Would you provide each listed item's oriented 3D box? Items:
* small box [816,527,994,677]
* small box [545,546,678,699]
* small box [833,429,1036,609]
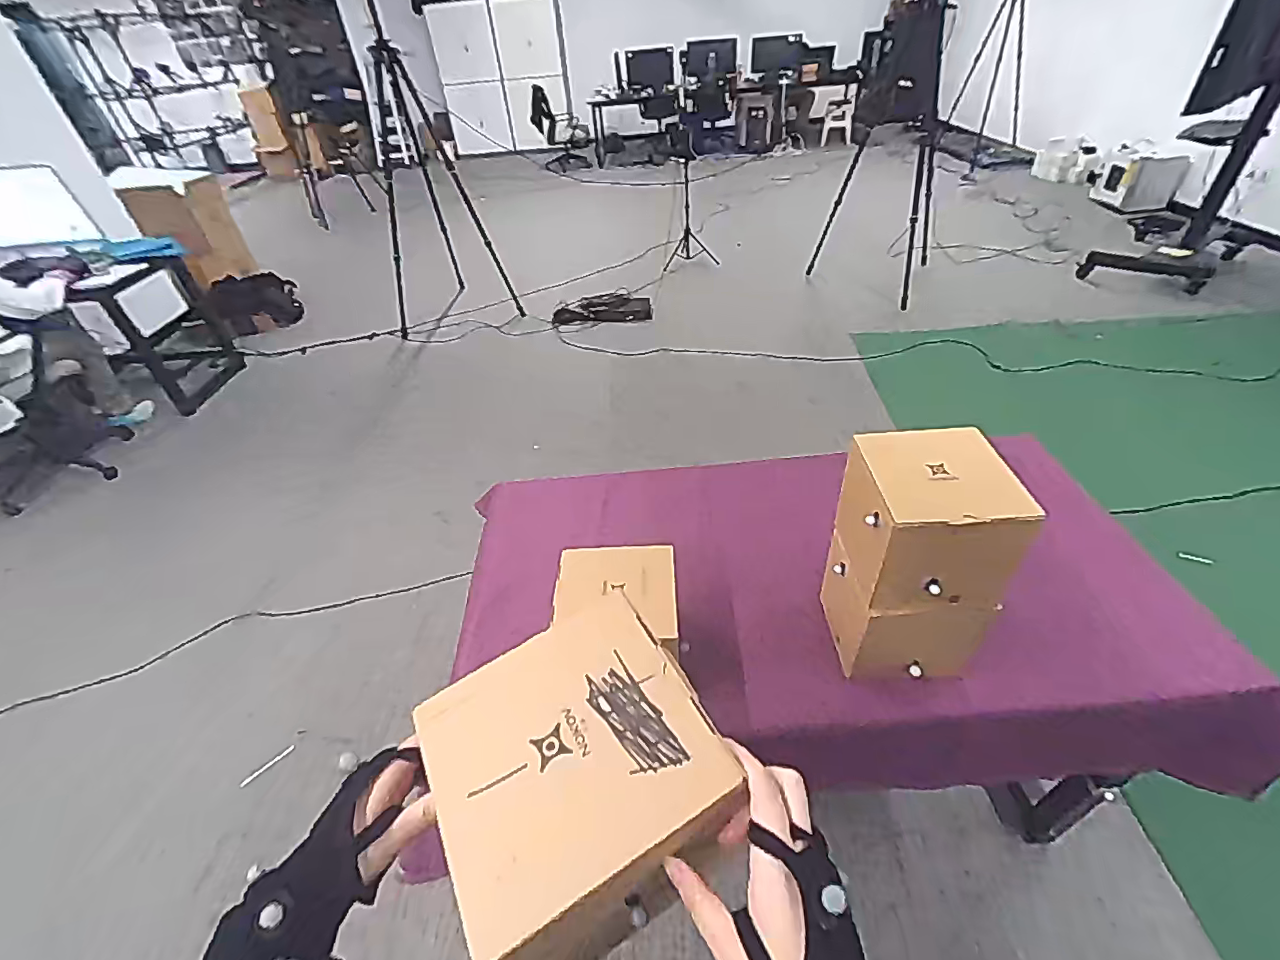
[{"bbox_3d":[0.385,0.183,0.824,0.179,0.176,0.168,-3,40,2],"label":"small box"},{"bbox_3d":[-0.034,0.221,0.829,0.179,0.176,0.168,-2,41,3],"label":"small box"},{"bbox_3d":[0.371,0.052,0.726,0.168,0.176,0.179,-4,41,3],"label":"small box"}]
